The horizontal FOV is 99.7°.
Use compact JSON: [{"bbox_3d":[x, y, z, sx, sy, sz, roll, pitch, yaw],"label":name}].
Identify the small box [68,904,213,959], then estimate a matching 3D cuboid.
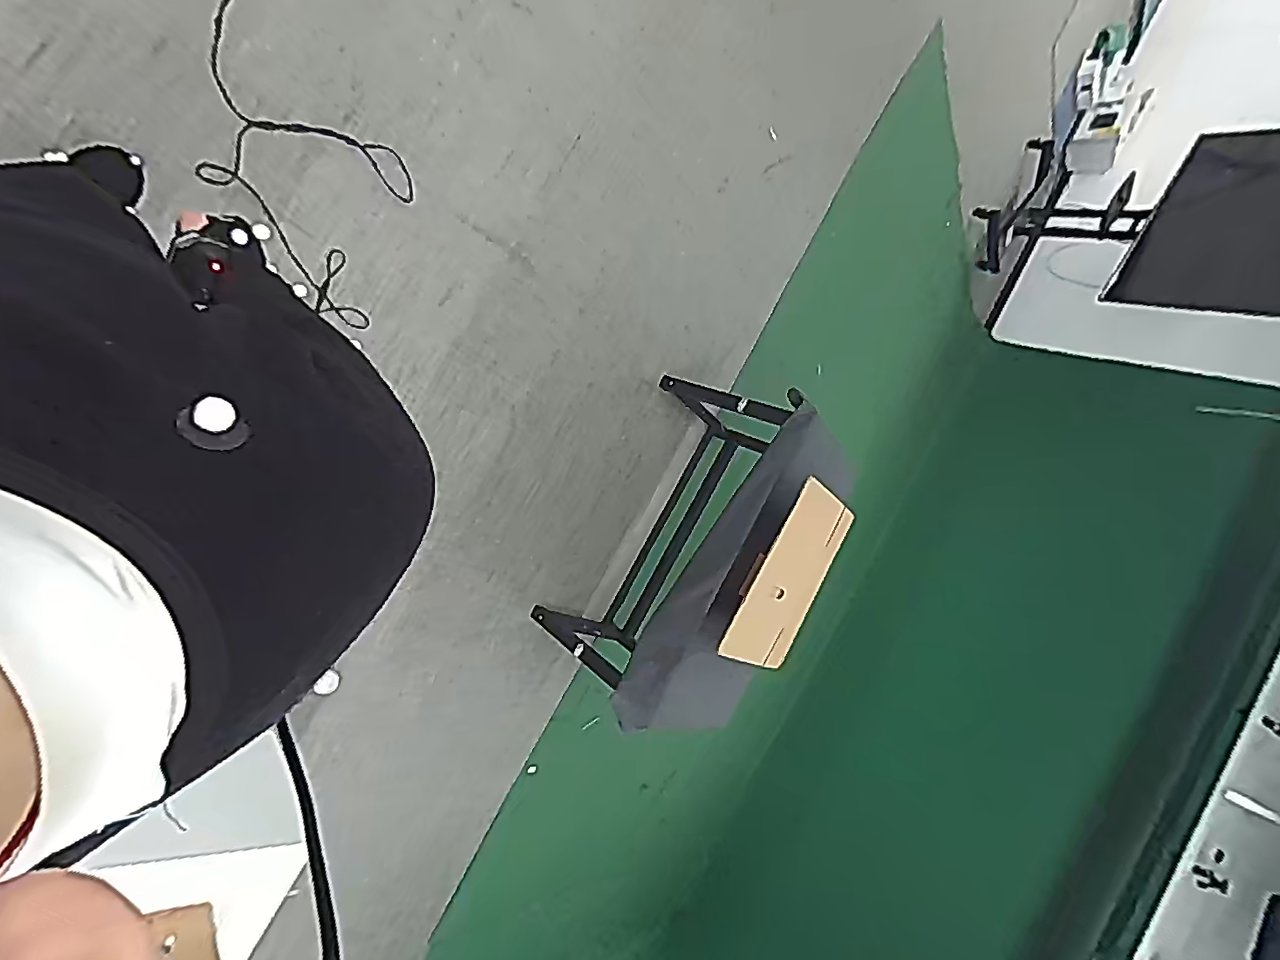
[{"bbox_3d":[-0.900,0.892,0.945,0.168,0.176,0.179,33,85,-51],"label":"small box"}]
